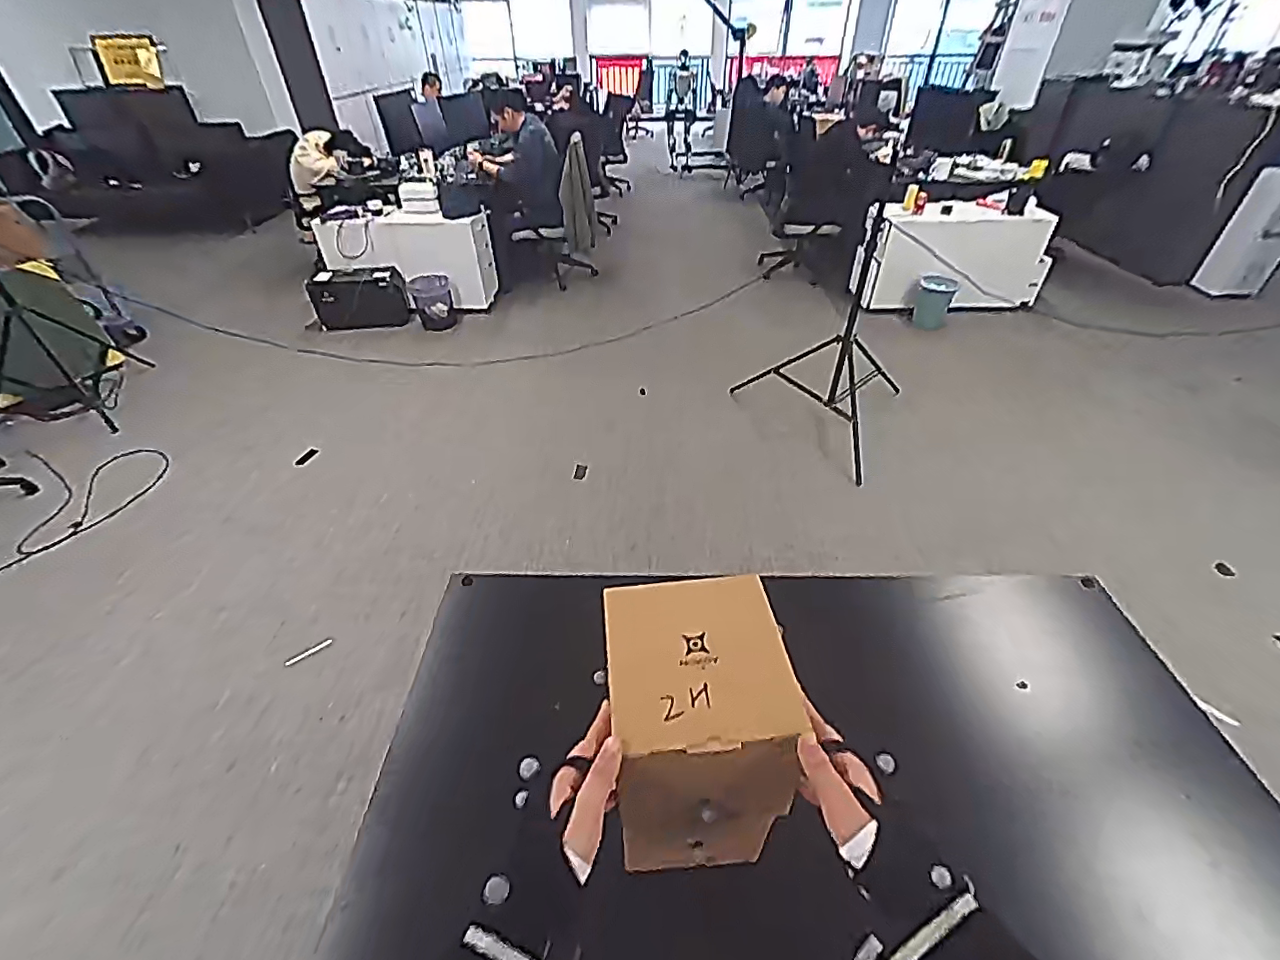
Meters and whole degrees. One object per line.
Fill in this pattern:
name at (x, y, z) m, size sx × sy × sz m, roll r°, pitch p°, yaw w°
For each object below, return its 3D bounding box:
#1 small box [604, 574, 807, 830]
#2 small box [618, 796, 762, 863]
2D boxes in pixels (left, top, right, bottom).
small box at (0.051, 0.221, 0.550) m, size 0.168 × 0.176 × 0.179 m, roll -5°, pitch 38°, yaw -2°
small box at (0.057, 0.362, 0.687) m, size 0.168 × 0.176 × 0.179 m, roll -3°, pitch 40°, yaw -2°
